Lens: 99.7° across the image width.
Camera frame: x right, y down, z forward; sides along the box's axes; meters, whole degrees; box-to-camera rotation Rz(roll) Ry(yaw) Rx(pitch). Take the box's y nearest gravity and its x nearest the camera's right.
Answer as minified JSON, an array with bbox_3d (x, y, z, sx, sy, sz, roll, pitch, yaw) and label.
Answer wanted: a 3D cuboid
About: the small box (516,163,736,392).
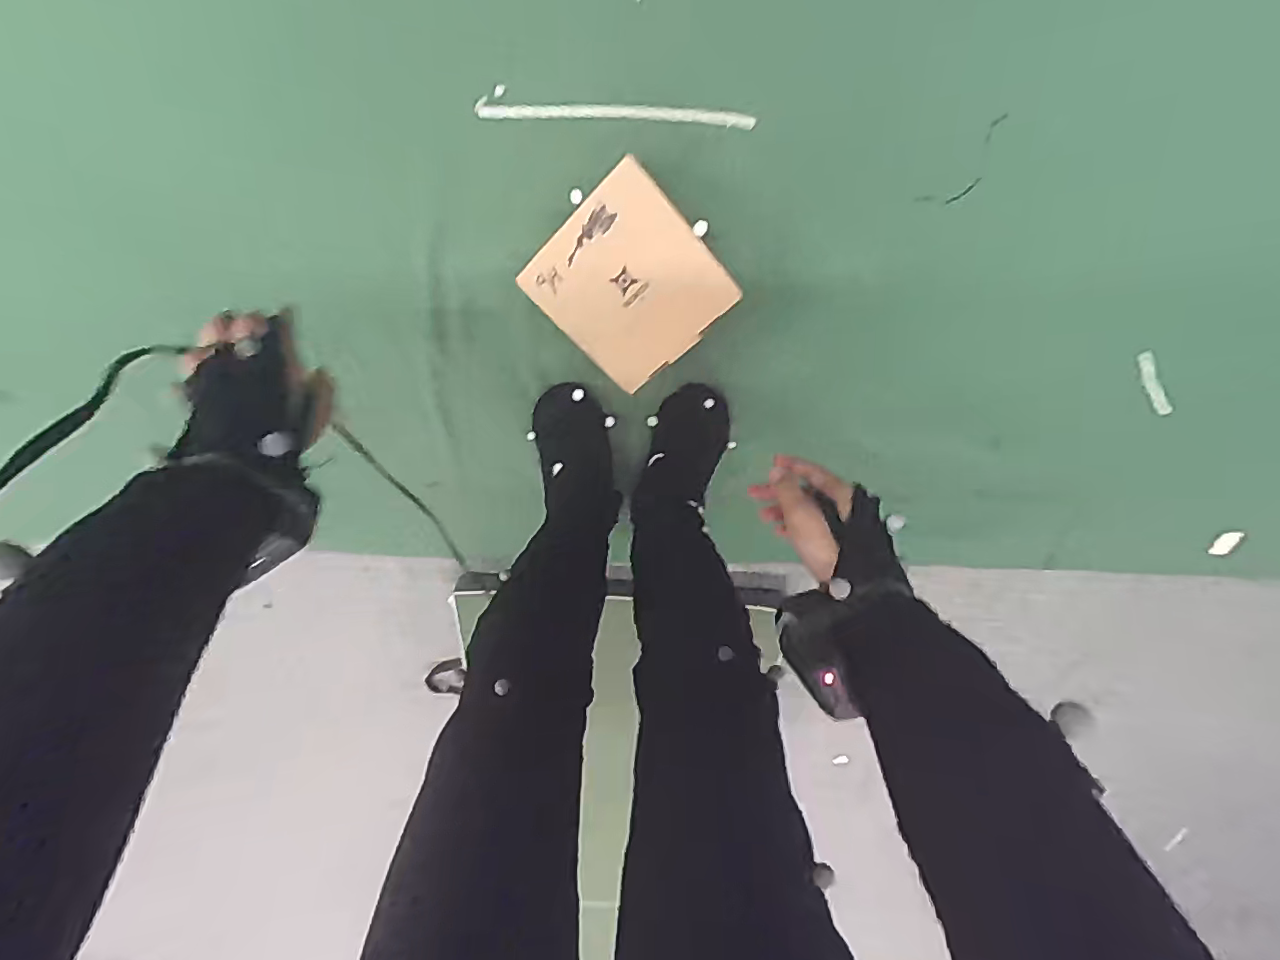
[{"bbox_3d":[-0.012,-0.242,0.632,0.168,0.176,0.179,-38,114,21],"label":"small box"}]
